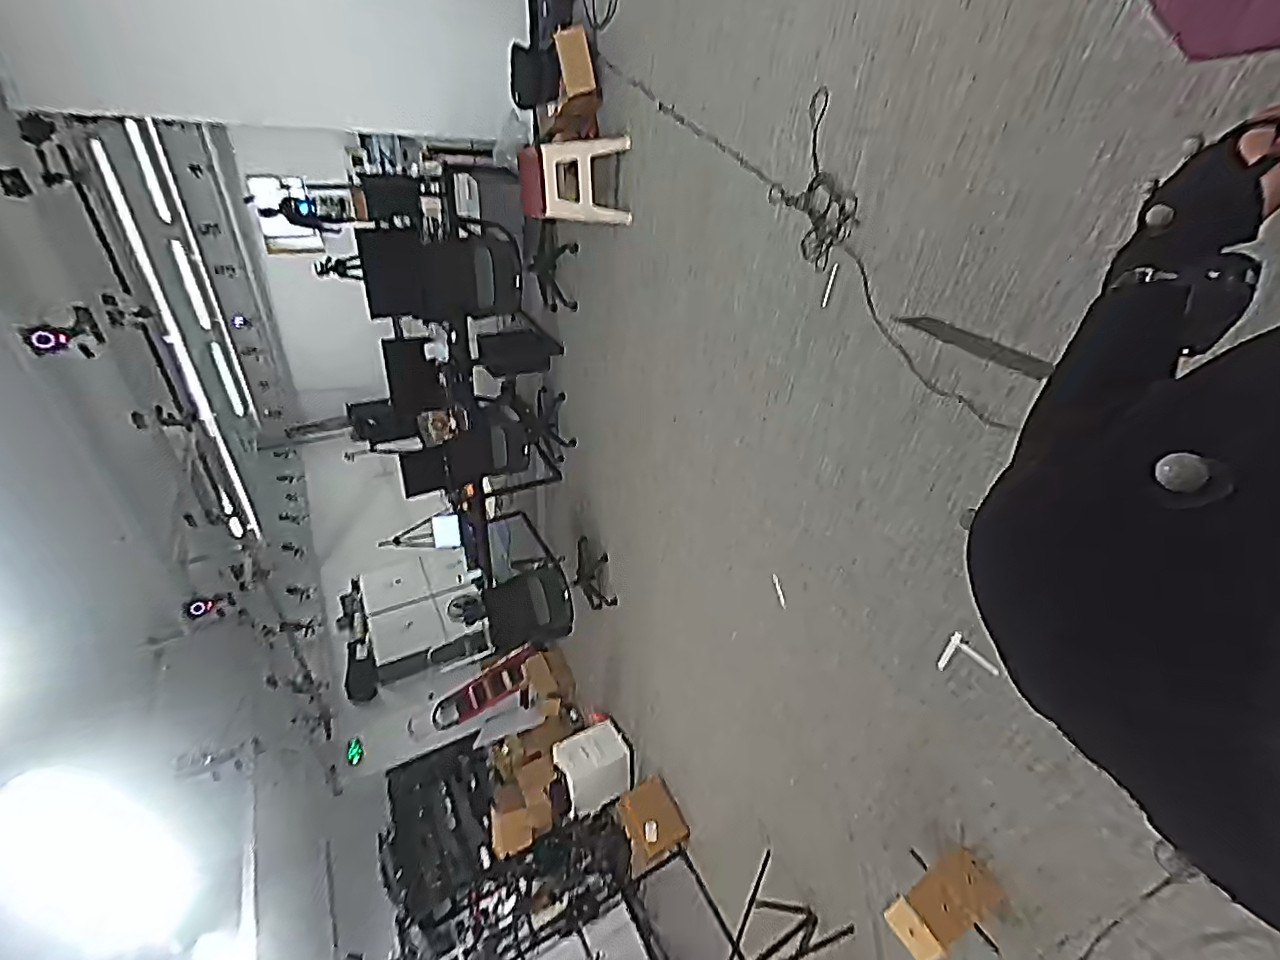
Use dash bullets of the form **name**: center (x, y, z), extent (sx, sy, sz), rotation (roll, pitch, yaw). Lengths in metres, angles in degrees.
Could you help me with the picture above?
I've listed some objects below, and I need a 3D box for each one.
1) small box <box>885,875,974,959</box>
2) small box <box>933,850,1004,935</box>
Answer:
- **small box**: center (0.953, 1.455, 1.778), extent (0.168, 0.176, 0.179), rotation (47, 141, 43)
- **small box**: center (1.097, 1.412, 1.844), extent (0.168, 0.176, 0.179), rotation (45, 141, 45)
